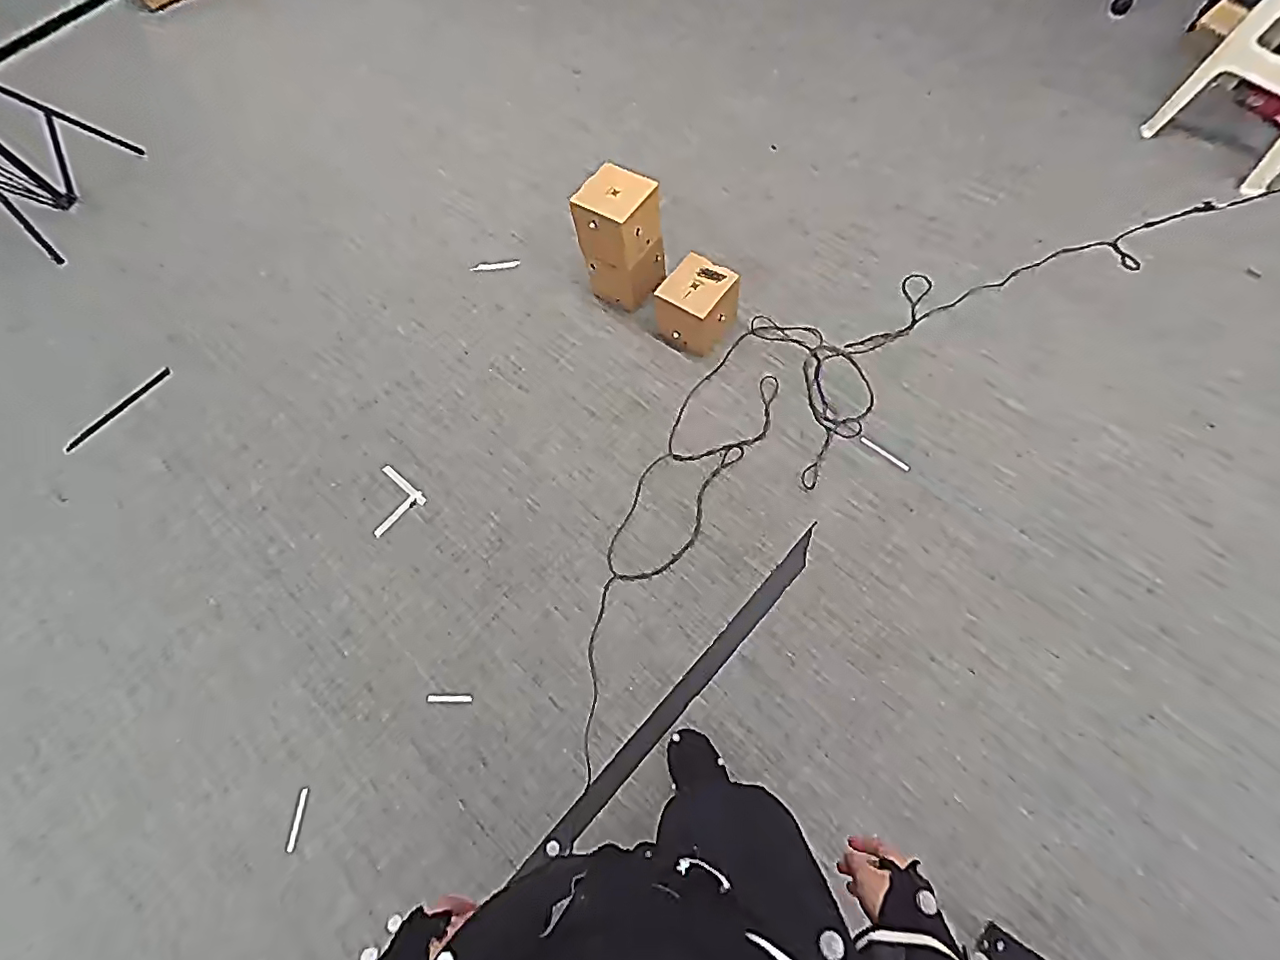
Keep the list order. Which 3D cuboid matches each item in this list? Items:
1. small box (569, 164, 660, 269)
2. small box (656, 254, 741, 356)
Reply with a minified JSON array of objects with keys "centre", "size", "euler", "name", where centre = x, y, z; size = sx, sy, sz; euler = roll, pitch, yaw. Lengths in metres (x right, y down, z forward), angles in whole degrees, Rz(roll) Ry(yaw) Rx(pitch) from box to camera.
[{"centre":[-0.060,-0.703,1.461],"size":[0.179,0.176,0.168],"euler":[31,73,18],"name":"small box"},{"centre":[0.162,-0.487,1.519],"size":[0.168,0.176,0.179],"euler":[34,75,19],"name":"small box"}]
